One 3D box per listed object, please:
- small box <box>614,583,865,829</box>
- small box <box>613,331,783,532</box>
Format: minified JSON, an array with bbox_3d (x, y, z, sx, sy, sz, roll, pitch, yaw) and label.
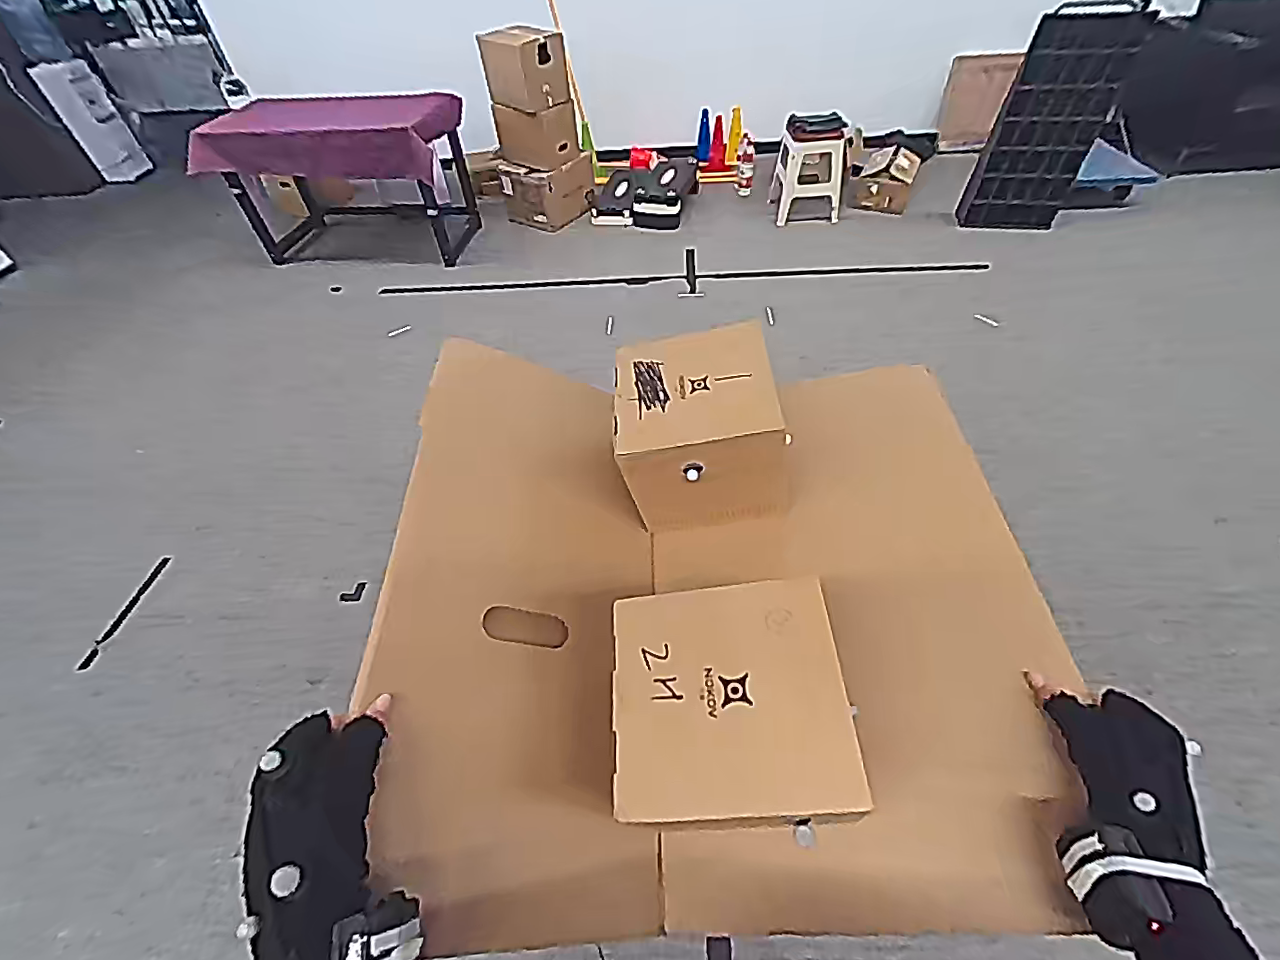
[{"bbox_3d":[0.083,0.207,0.481,0.179,0.176,0.168,-9,54,11],"label":"small box"},{"bbox_3d":[0.073,-0.050,0.664,0.179,0.176,0.168,-9,54,10],"label":"small box"}]
